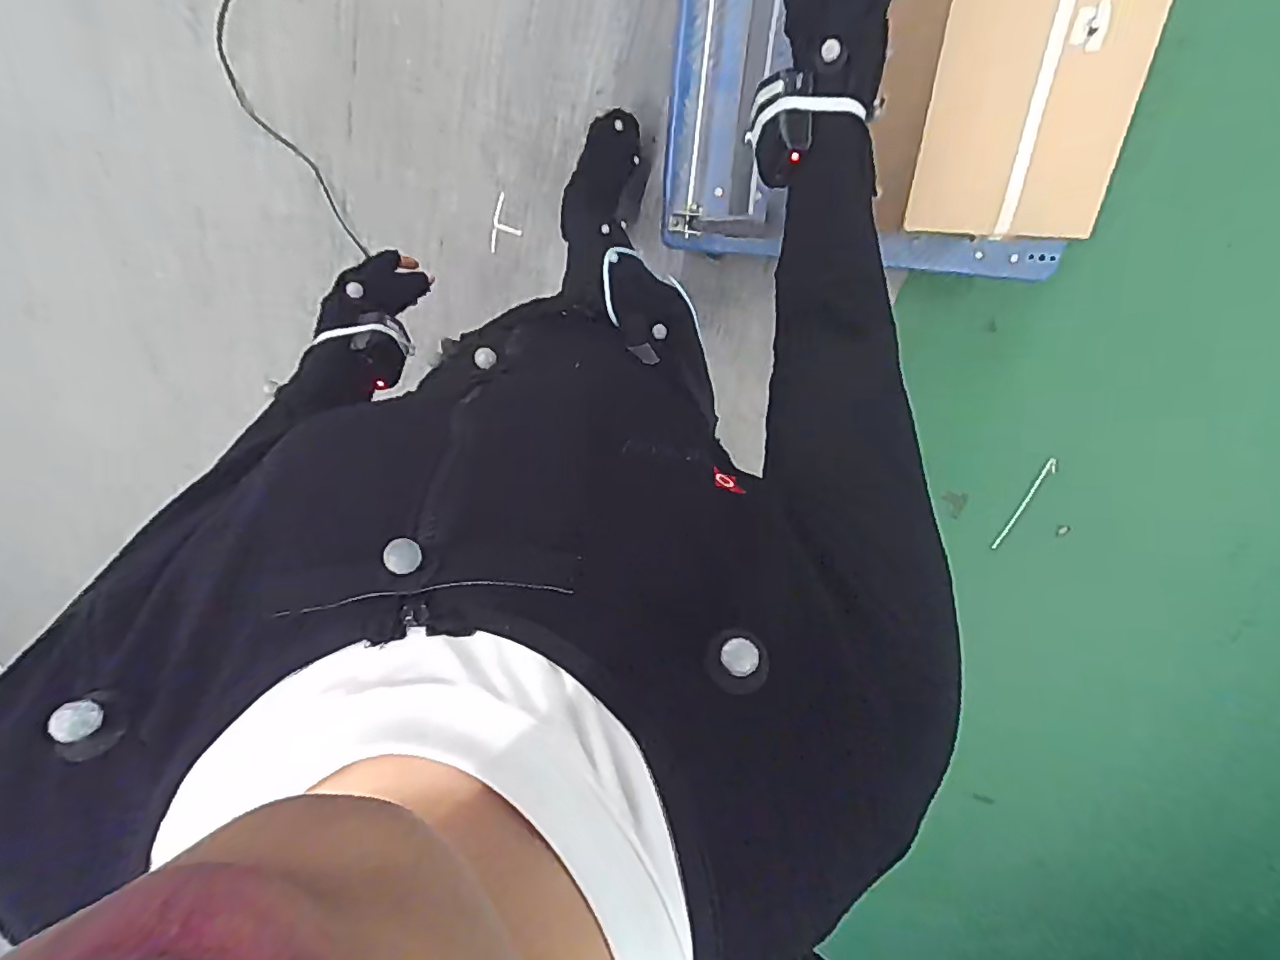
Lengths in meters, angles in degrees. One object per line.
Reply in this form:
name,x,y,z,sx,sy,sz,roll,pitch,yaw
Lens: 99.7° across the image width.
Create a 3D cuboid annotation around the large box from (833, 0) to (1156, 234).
large box,0.562,-0.645,0.926,0.320,0.320,0.408,1,114,-4
